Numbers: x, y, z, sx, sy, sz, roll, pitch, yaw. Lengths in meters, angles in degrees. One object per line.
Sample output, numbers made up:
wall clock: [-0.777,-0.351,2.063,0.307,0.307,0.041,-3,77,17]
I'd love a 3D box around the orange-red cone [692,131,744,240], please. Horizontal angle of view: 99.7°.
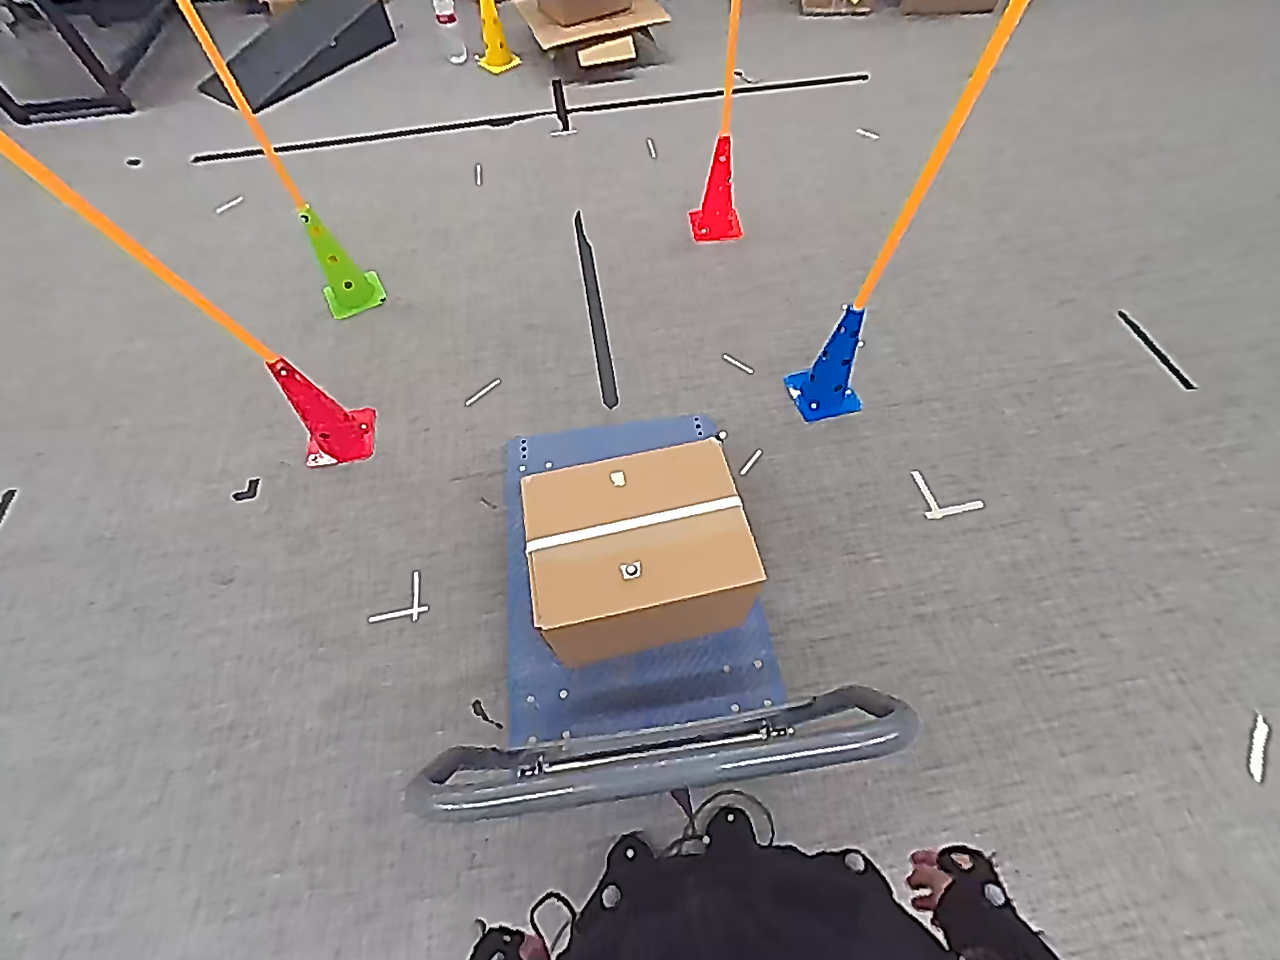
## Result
orange-red cone: [0.314,-1.127,2.047,0.199,0.360,0.198,-3,60,-1]

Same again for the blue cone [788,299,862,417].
blue cone: [0.592,-0.373,1.618,0.193,0.380,0.192,-12,59,-6]
